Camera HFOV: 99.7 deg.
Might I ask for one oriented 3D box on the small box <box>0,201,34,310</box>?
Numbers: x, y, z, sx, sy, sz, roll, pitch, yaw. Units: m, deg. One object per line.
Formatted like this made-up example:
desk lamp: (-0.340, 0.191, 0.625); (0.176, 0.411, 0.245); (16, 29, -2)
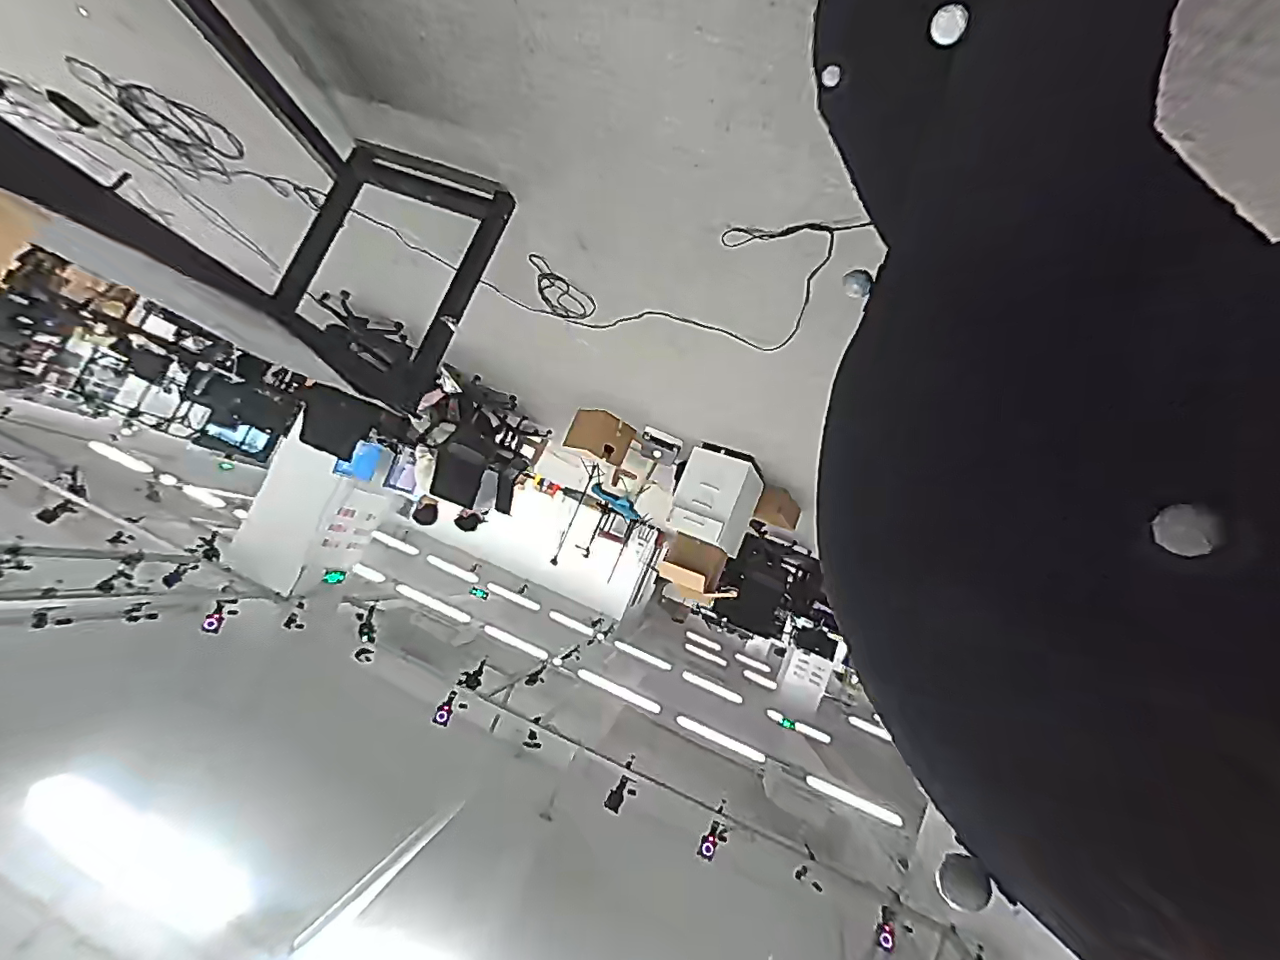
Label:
small box: (-0.923, -0.321, 0.661); (0.179, 0.176, 0.168); (27, 172, -11)
